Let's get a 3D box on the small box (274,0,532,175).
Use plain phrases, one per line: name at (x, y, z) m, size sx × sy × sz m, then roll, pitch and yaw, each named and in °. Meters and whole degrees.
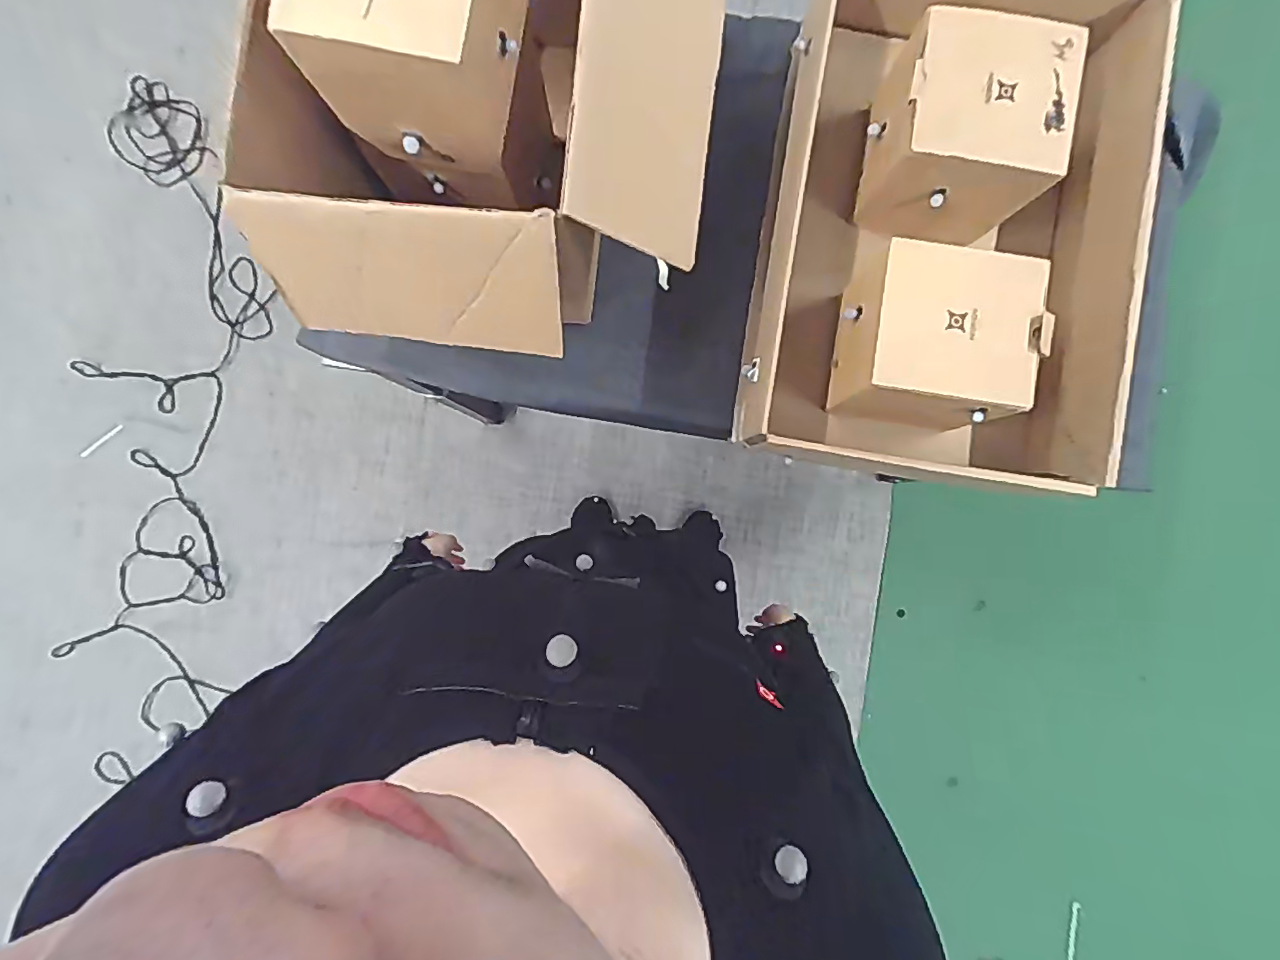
small box at (-0.210, -0.443, 0.530) m, size 0.168 × 0.176 × 0.179 m, roll 11°, pitch 91°, yaw -1°
